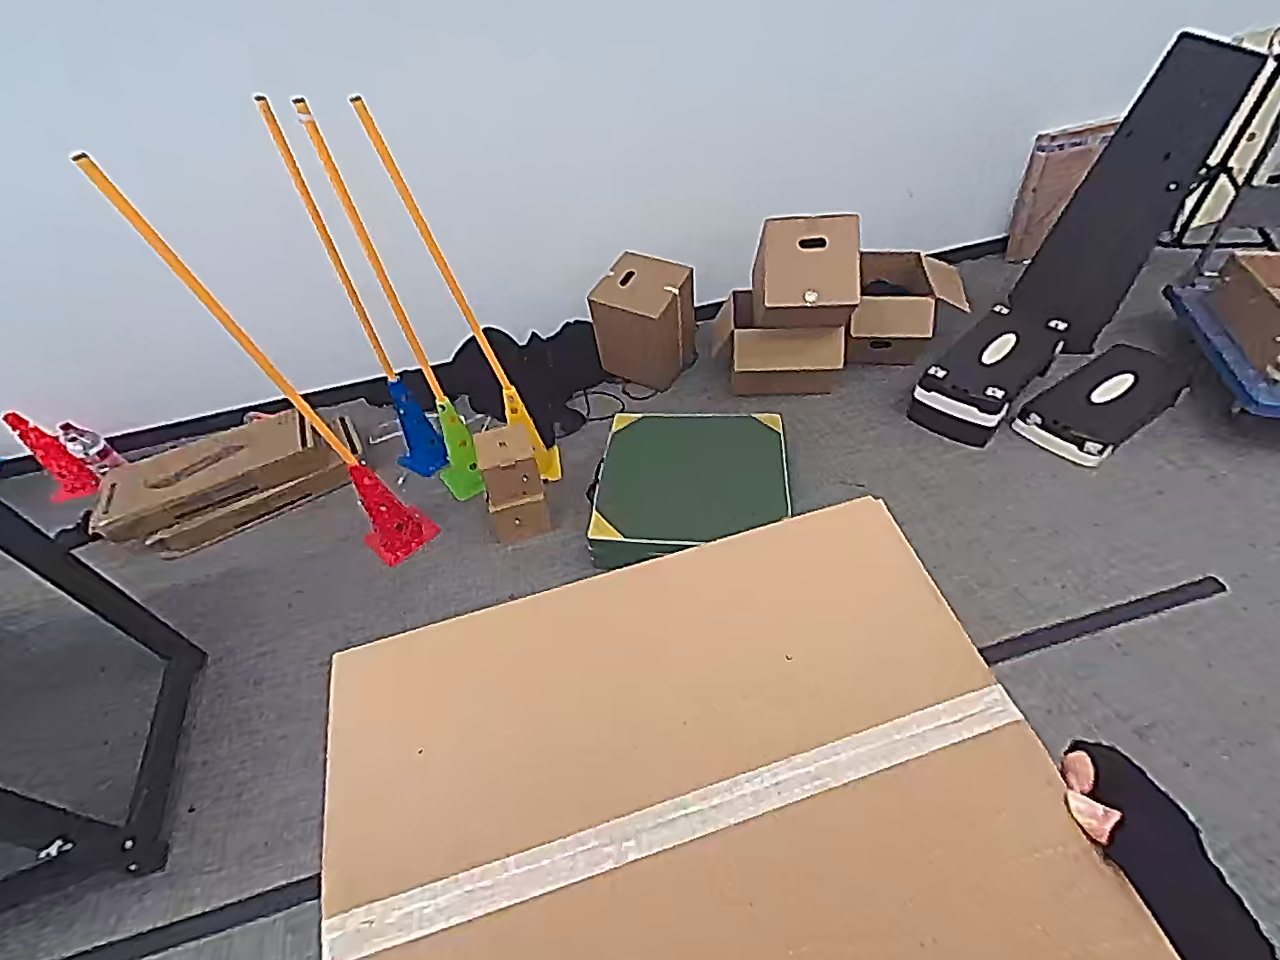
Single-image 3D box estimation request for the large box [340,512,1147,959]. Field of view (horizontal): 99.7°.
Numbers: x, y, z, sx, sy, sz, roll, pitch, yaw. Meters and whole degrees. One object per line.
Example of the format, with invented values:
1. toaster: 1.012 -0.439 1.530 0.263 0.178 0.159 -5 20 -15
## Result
1. large box: 0.039 0.279 0.436 0.408 0.320 0.320 -16 56 -6
